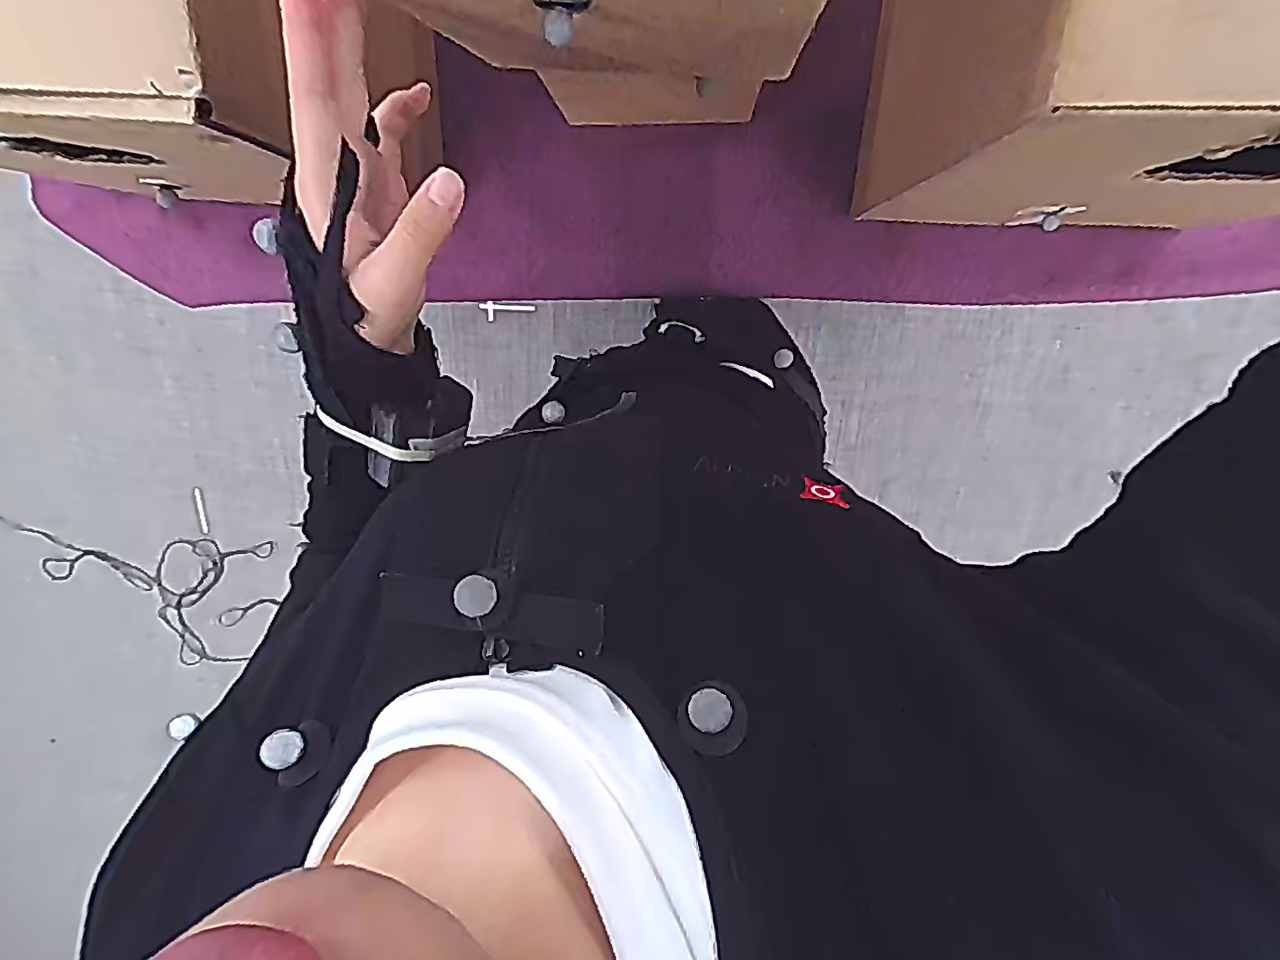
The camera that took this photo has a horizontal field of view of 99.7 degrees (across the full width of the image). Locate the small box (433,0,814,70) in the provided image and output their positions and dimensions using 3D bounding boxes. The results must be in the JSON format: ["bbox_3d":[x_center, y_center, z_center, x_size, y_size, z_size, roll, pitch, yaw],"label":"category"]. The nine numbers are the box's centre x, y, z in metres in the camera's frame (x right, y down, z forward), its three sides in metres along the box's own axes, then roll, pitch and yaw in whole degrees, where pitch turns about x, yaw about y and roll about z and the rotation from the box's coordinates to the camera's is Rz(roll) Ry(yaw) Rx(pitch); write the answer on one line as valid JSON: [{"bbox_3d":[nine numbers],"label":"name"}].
[{"bbox_3d":[-0.007,-0.271,0.199,0.179,0.176,0.168,6,117,5],"label":"small box"}]

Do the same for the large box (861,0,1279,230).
[{"bbox_3d":[0.349,-0.382,0.311,0.320,0.320,0.408,3,107,3],"label":"large box"}]
